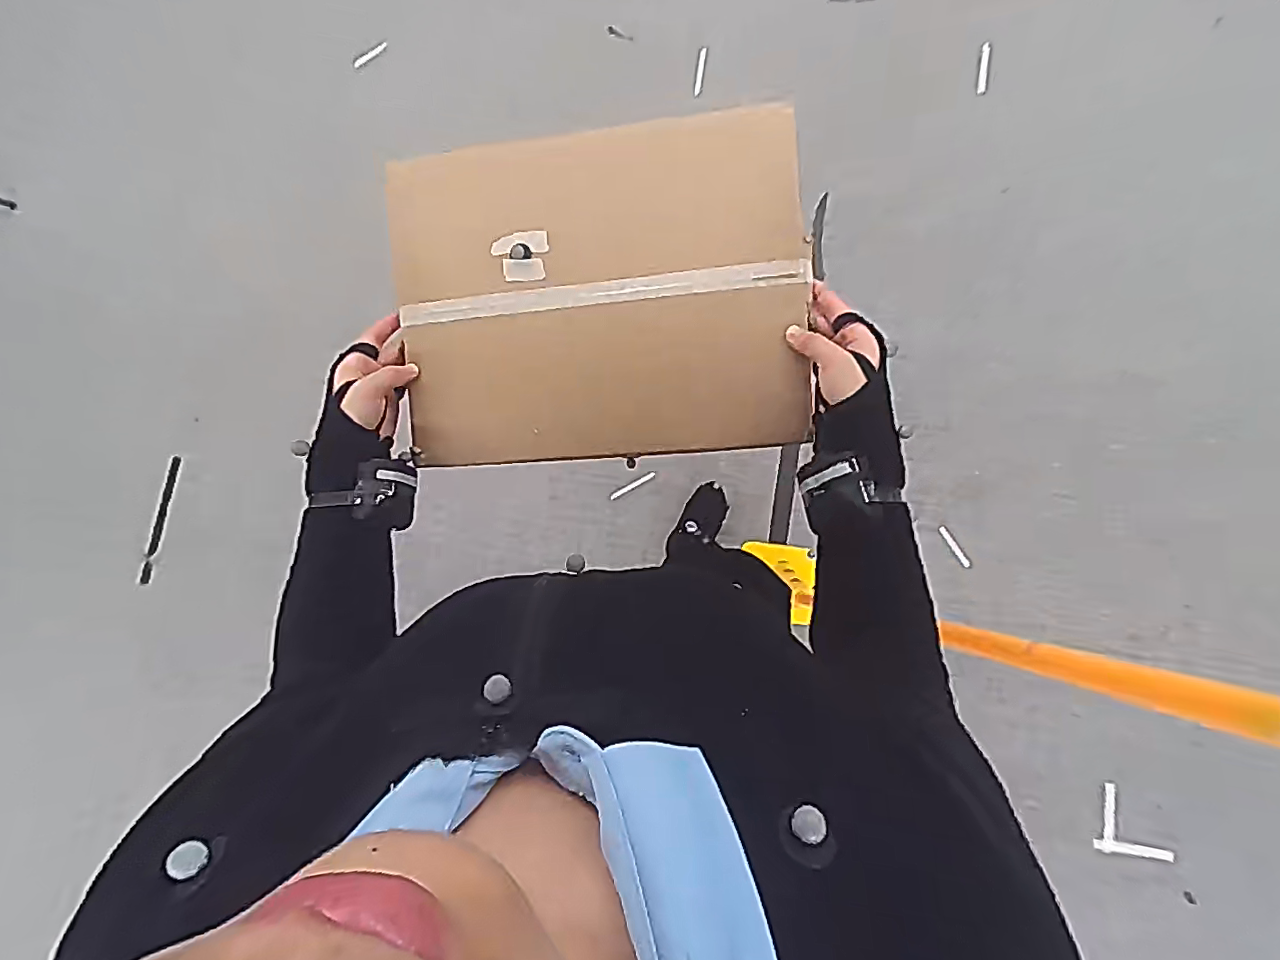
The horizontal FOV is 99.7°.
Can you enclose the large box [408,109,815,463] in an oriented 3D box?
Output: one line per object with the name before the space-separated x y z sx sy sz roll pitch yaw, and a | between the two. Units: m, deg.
large box | -0.015 -0.192 0.690 0.408 0.320 0.320 -3 91 9
